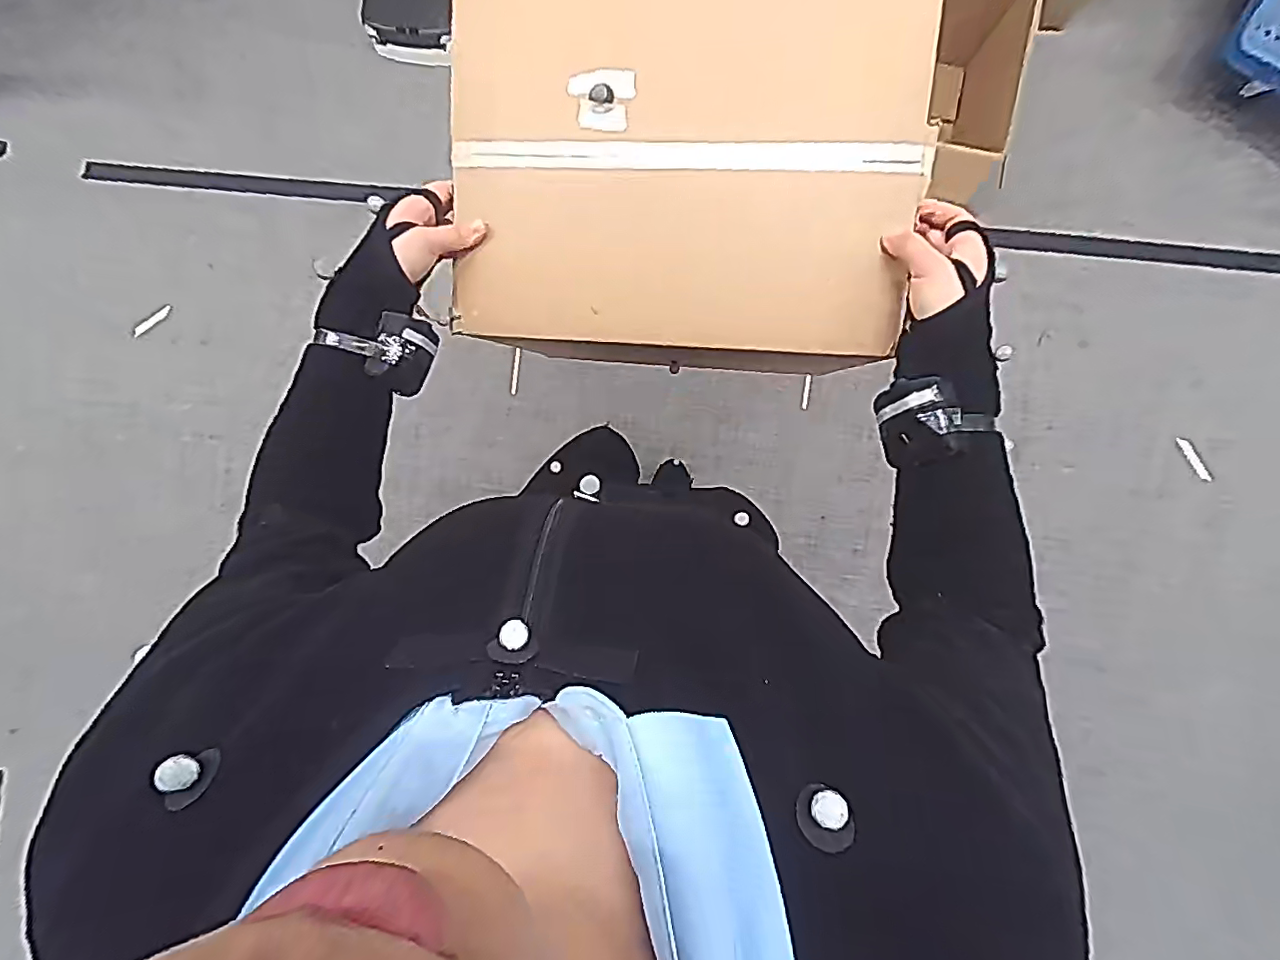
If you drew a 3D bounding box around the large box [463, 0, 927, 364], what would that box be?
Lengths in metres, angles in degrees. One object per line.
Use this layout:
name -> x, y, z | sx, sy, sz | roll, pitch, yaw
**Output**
large box -> 0.054, -0.303, 0.624 | 0.408, 0.320, 0.320 | 4, 97, 8
